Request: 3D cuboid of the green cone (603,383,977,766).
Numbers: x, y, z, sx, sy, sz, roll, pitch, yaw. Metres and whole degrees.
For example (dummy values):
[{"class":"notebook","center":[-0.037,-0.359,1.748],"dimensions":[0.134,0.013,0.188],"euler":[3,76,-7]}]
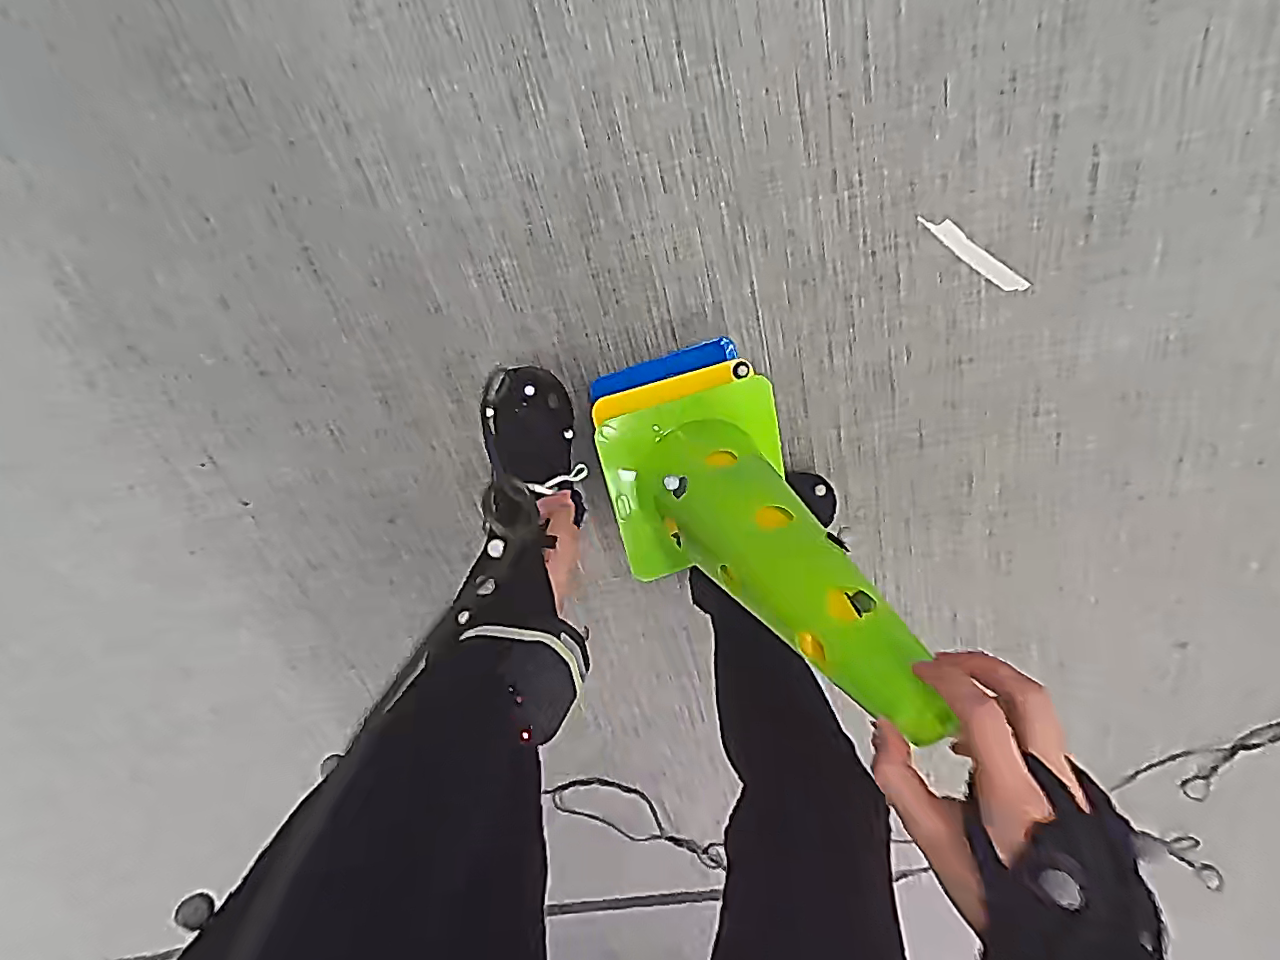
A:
[{"class":"green cone","center":[0.114,0.064,0.432],"dimensions":[0.202,0.368,0.200],"euler":[-18,113,-8]}]
